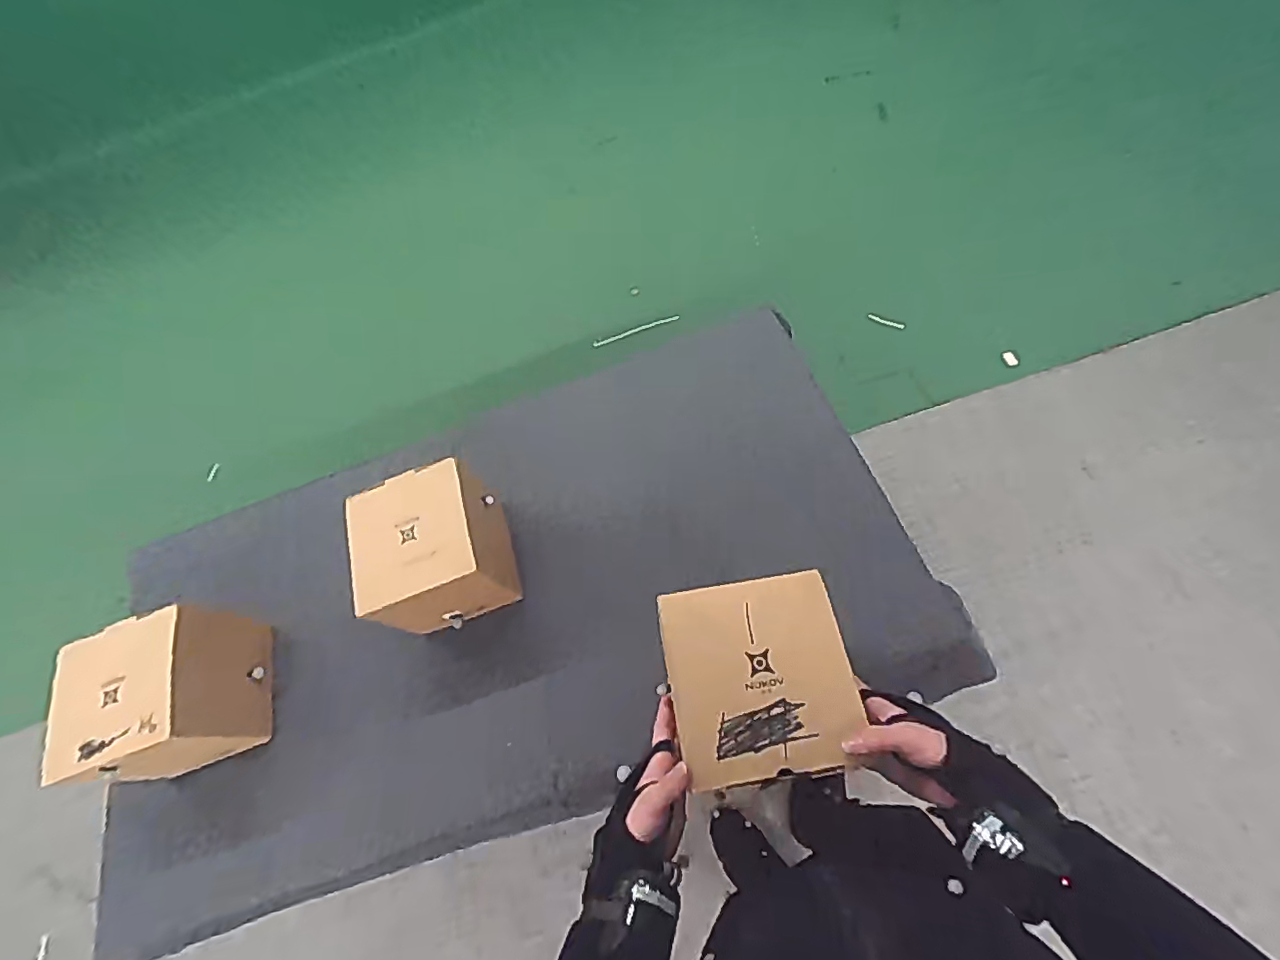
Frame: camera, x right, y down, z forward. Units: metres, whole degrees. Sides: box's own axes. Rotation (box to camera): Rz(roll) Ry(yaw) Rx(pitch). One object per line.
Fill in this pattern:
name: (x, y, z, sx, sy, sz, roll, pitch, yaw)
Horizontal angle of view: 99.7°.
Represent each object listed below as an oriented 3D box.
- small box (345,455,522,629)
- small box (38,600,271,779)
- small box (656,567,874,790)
small box: (-0.290, 0.097, 0.778, 0.168, 0.176, 0.179, -22, 66, 1)
small box: (-0.648, 0.291, 0.749, 0.168, 0.176, 0.179, -21, 64, 0)
small box: (0.113, 0.210, 0.567, 0.168, 0.176, 0.179, -9, 62, -2)
